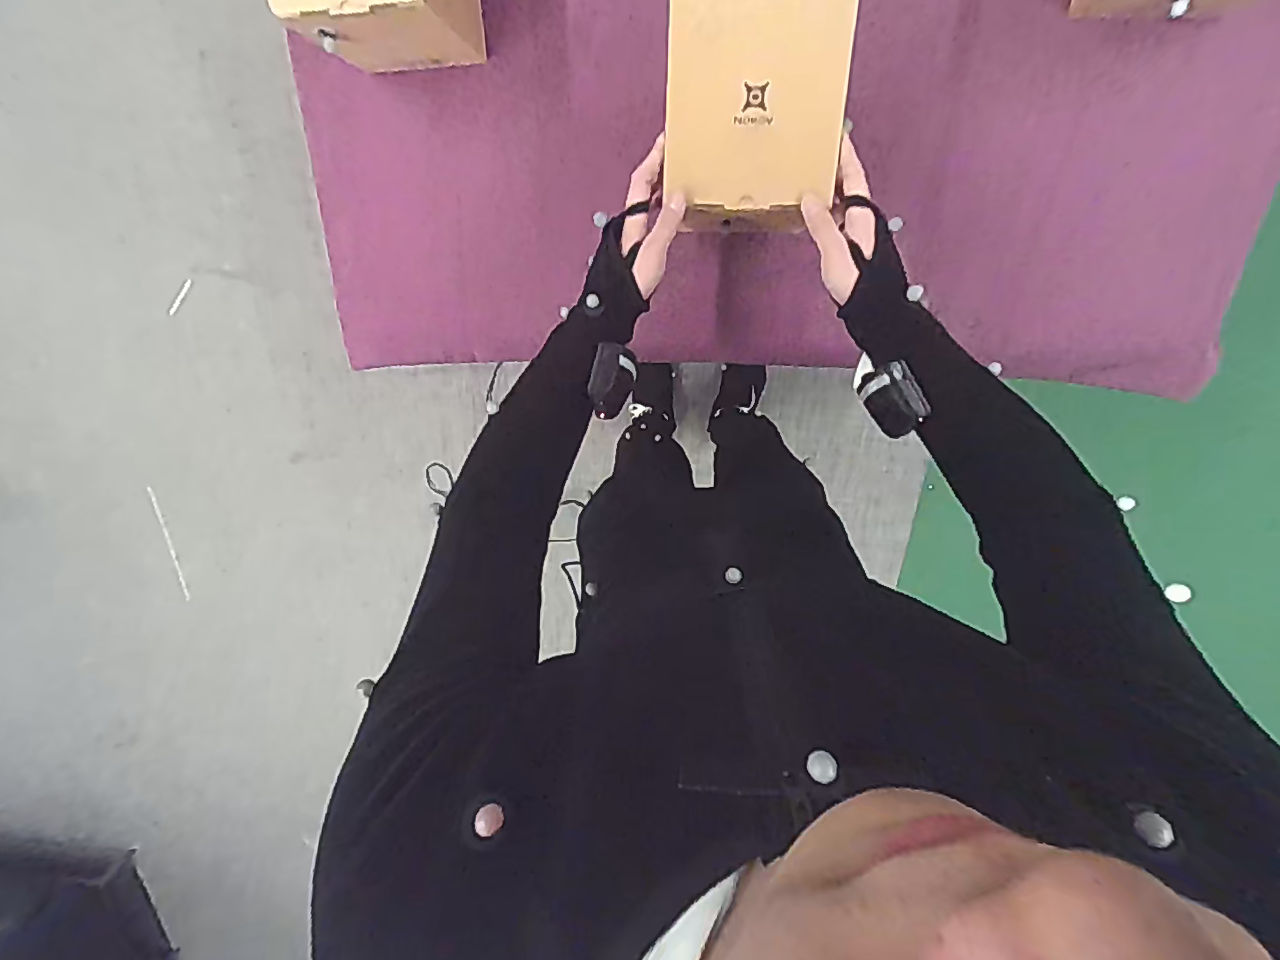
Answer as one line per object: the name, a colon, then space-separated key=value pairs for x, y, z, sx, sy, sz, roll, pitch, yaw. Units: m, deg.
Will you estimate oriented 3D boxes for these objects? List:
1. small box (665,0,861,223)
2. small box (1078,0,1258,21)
small box: x=0.112 y=-0.377 z=0.566 sx=0.168 sy=0.176 sz=0.179 roll=3 pitch=110 yaw=4
small box: x=0.549 y=-0.558 z=0.487 sx=0.168 sy=0.176 sz=0.179 roll=6 pitch=113 yaw=6
